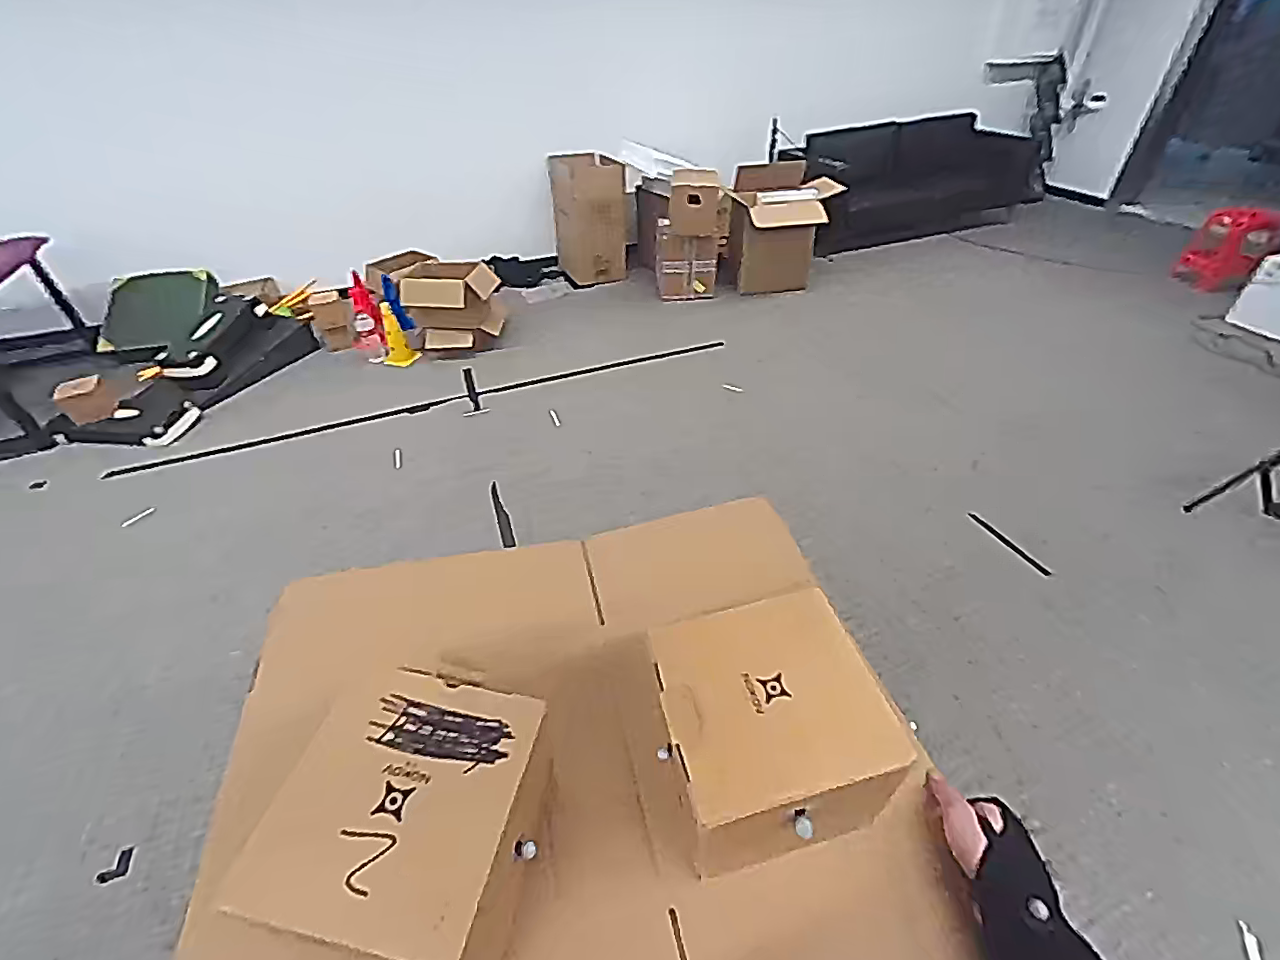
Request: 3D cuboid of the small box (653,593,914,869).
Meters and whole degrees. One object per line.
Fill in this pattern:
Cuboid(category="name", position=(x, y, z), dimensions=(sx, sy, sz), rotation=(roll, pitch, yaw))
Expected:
Cuboid(category="small box", position=(0.119, 0.241, 0.521), dimensions=(0.179, 0.176, 0.168), rotation=(-14, 44, -7))
